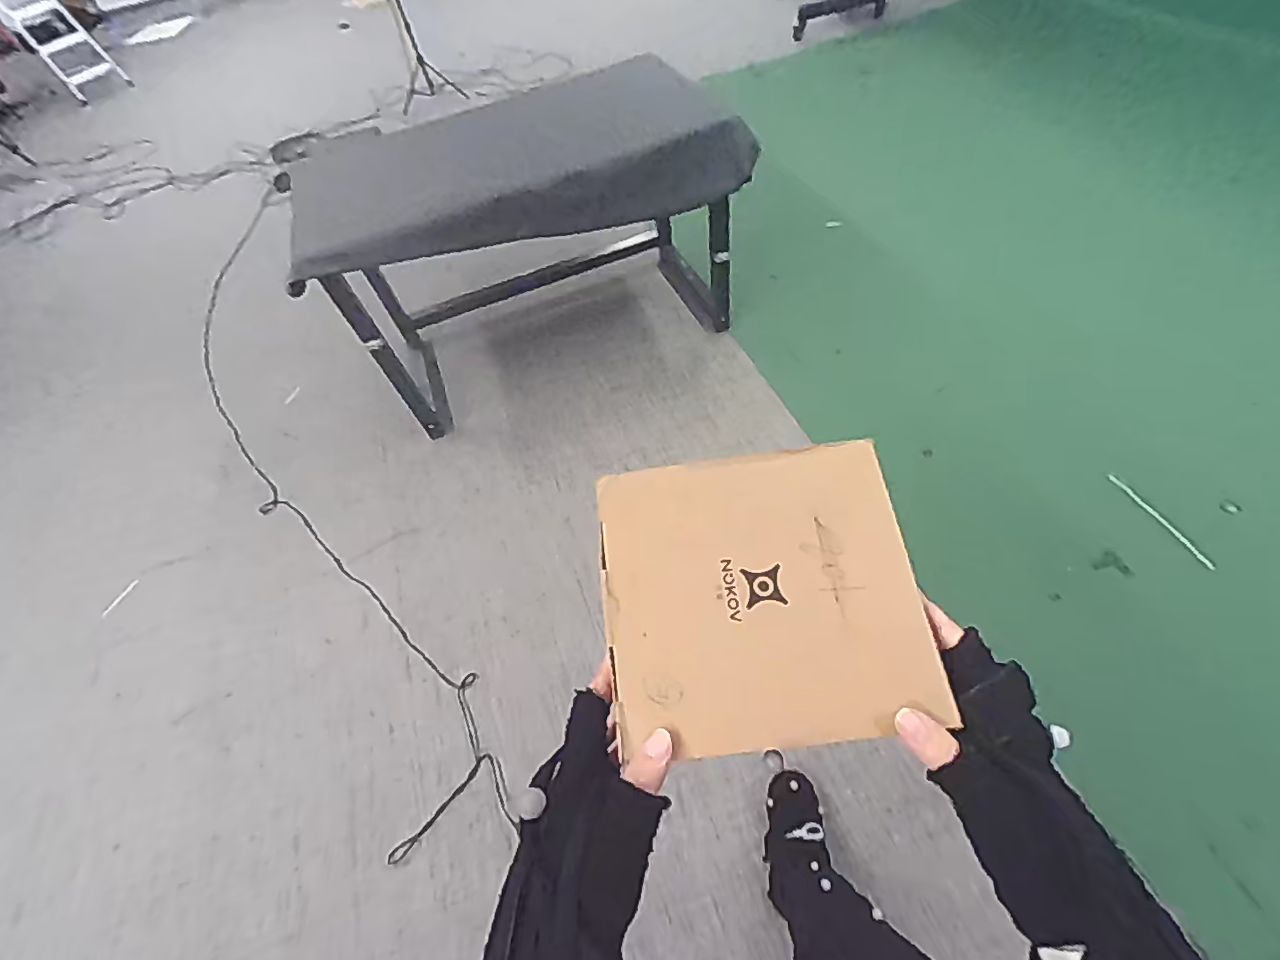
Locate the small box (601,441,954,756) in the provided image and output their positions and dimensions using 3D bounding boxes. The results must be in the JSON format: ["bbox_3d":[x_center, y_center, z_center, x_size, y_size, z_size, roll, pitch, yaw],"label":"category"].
[{"bbox_3d":[0.076,0.091,0.387,0.179,0.176,0.168,-9,68,0],"label":"small box"}]
